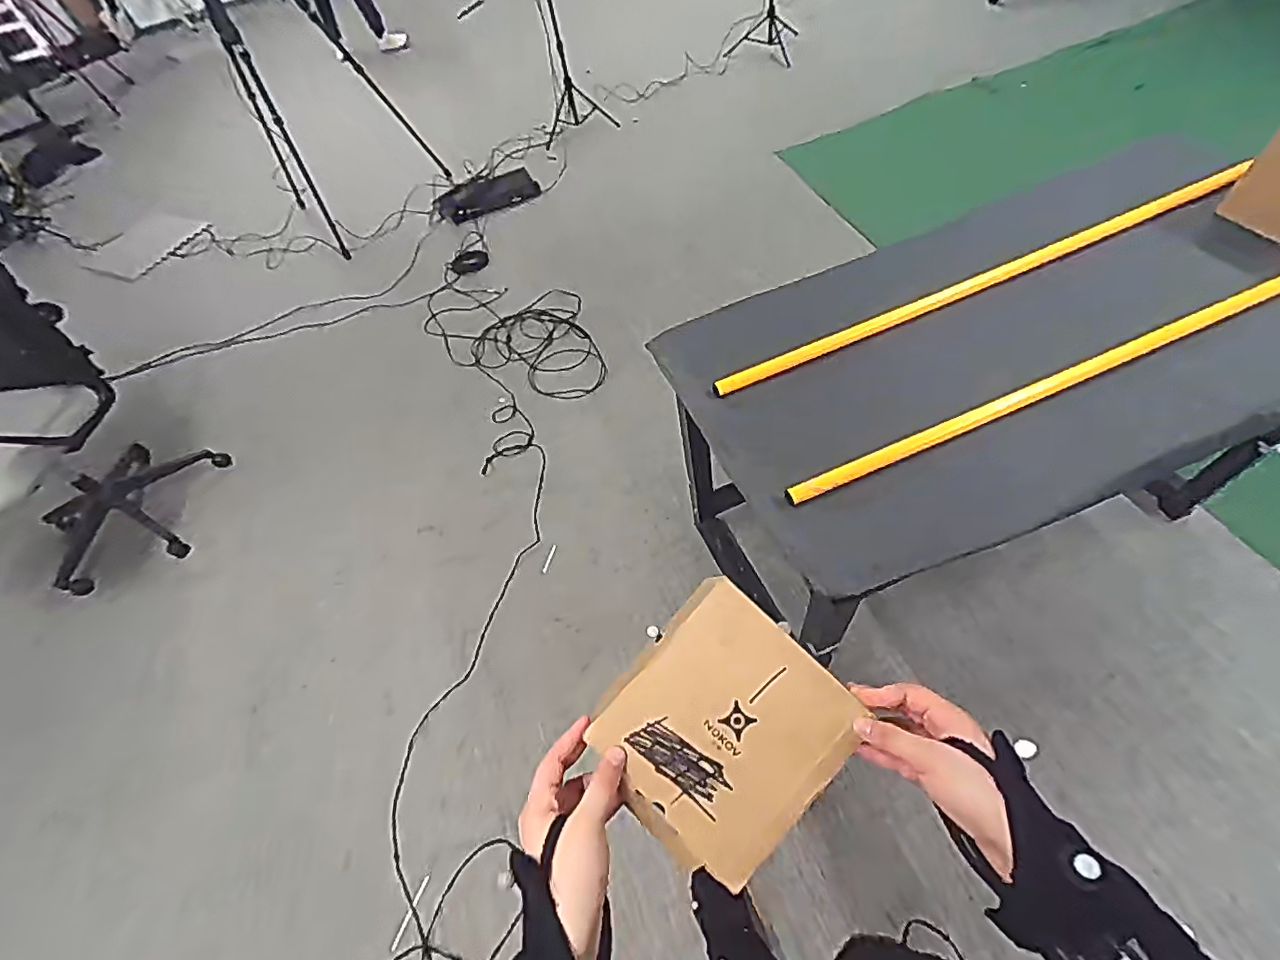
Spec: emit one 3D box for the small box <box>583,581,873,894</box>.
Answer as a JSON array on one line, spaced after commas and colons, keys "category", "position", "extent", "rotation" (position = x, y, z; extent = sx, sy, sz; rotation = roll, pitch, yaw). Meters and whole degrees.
[{"category": "small box", "position": [0.074, 0.215, 0.508], "extent": [0.168, 0.176, 0.179], "rotation": [42, 83, 9]}]
